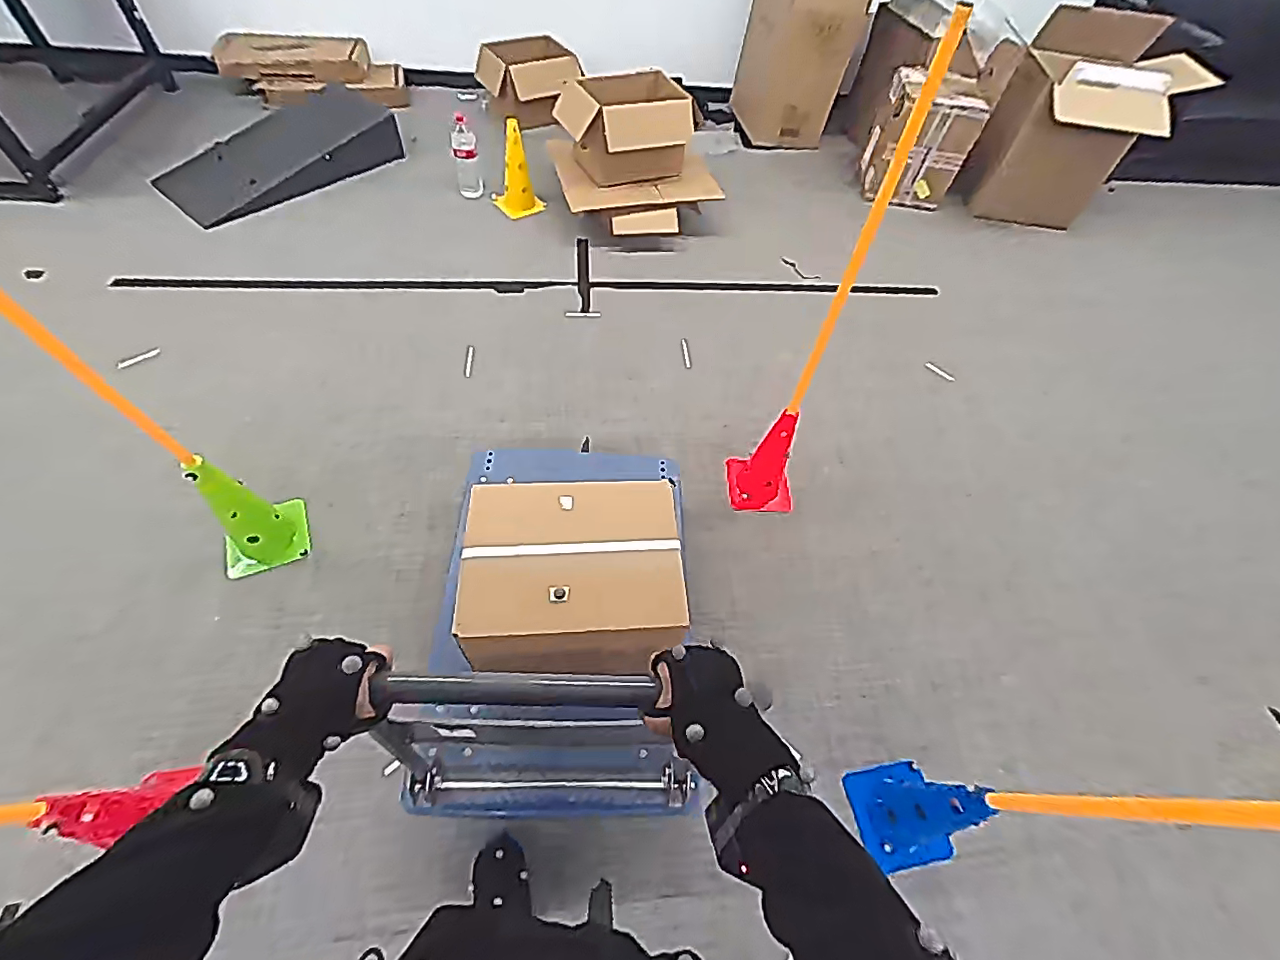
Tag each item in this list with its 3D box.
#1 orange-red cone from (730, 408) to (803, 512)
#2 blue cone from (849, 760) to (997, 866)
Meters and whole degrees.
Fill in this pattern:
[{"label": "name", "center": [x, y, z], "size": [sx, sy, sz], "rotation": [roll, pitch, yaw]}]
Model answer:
[{"label": "orange-red cone", "center": [0.405, -0.082, 1.588], "size": [0.199, 0.360, 0.198], "rotation": [5, 56, -4]}, {"label": "blue cone", "center": [0.608, 0.665, 1.109], "size": [0.193, 0.380, 0.192], "rotation": [-5, 55, -9]}]
